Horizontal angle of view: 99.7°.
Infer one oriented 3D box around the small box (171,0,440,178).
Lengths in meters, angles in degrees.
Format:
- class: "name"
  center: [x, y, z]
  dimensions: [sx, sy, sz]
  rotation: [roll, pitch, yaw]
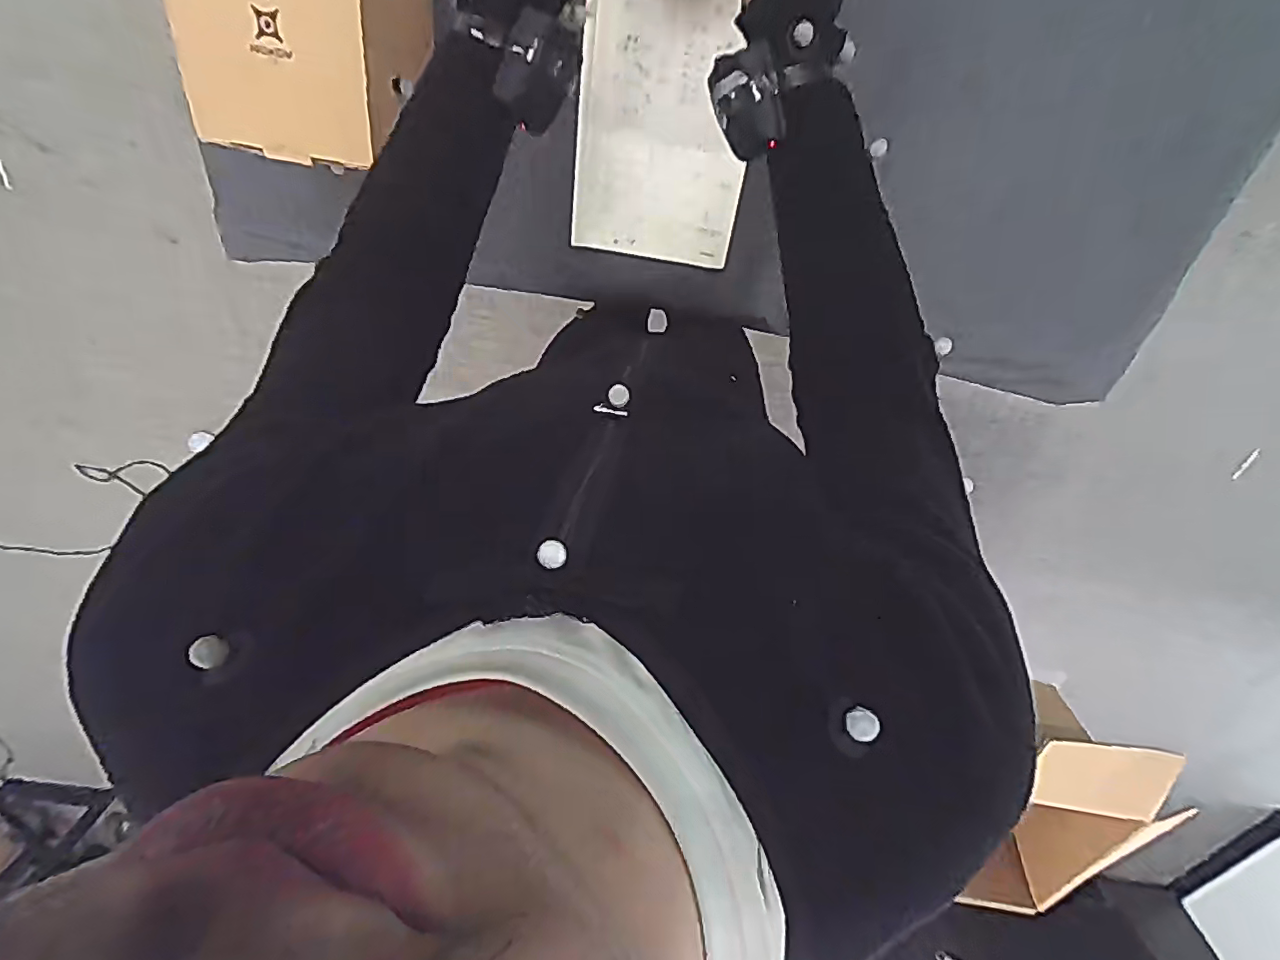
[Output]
- class: "small box"
  center: [-0.306, -0.413, 0.529]
  dimensions: [0.168, 0.176, 0.179]
  rotation: [10, 122, -3]
